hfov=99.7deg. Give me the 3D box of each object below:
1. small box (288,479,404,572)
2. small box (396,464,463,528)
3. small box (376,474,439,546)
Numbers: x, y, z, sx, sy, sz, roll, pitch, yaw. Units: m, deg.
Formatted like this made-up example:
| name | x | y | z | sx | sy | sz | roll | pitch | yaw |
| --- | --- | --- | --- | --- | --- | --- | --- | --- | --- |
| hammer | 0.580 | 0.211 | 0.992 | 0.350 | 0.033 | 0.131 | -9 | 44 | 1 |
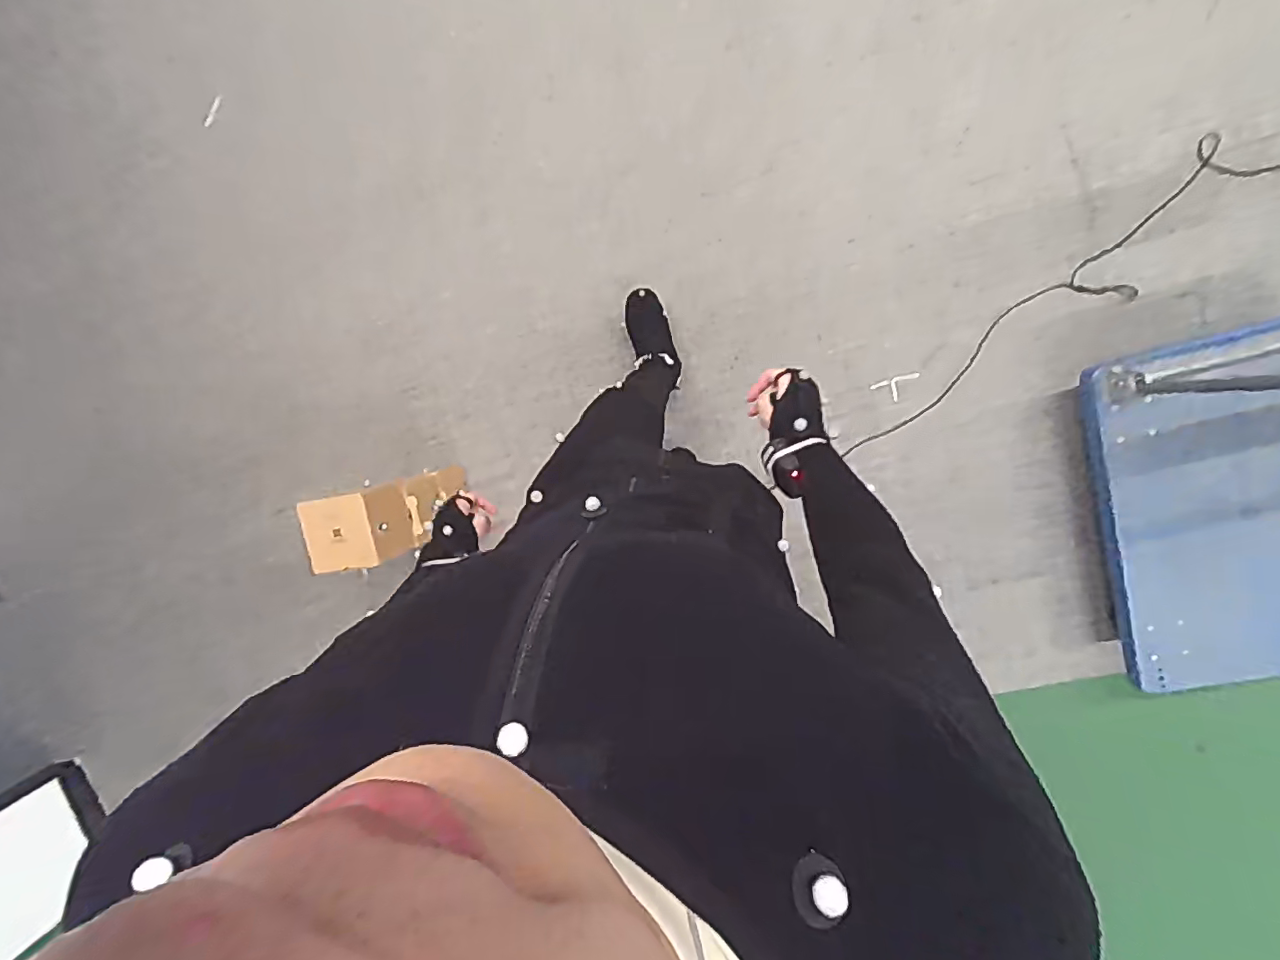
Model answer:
| name | x | y | z | sx | sy | sz | roll | pitch | yaw |
| --- | --- | --- | --- | --- | --- | --- | --- | --- | --- |
| small box | -0.694 | 0.105 | 1.299 | 0.168 | 0.176 | 0.179 | -8 | 98 | 7 |
| small box | -0.649 | 0.056 | 1.621 | 0.179 | 0.176 | 0.168 | -12 | 98 | 7 |
| small box | -0.676 | 0.085 | 1.461 | 0.179 | 0.176 | 0.168 | -7 | 99 | 7 |
